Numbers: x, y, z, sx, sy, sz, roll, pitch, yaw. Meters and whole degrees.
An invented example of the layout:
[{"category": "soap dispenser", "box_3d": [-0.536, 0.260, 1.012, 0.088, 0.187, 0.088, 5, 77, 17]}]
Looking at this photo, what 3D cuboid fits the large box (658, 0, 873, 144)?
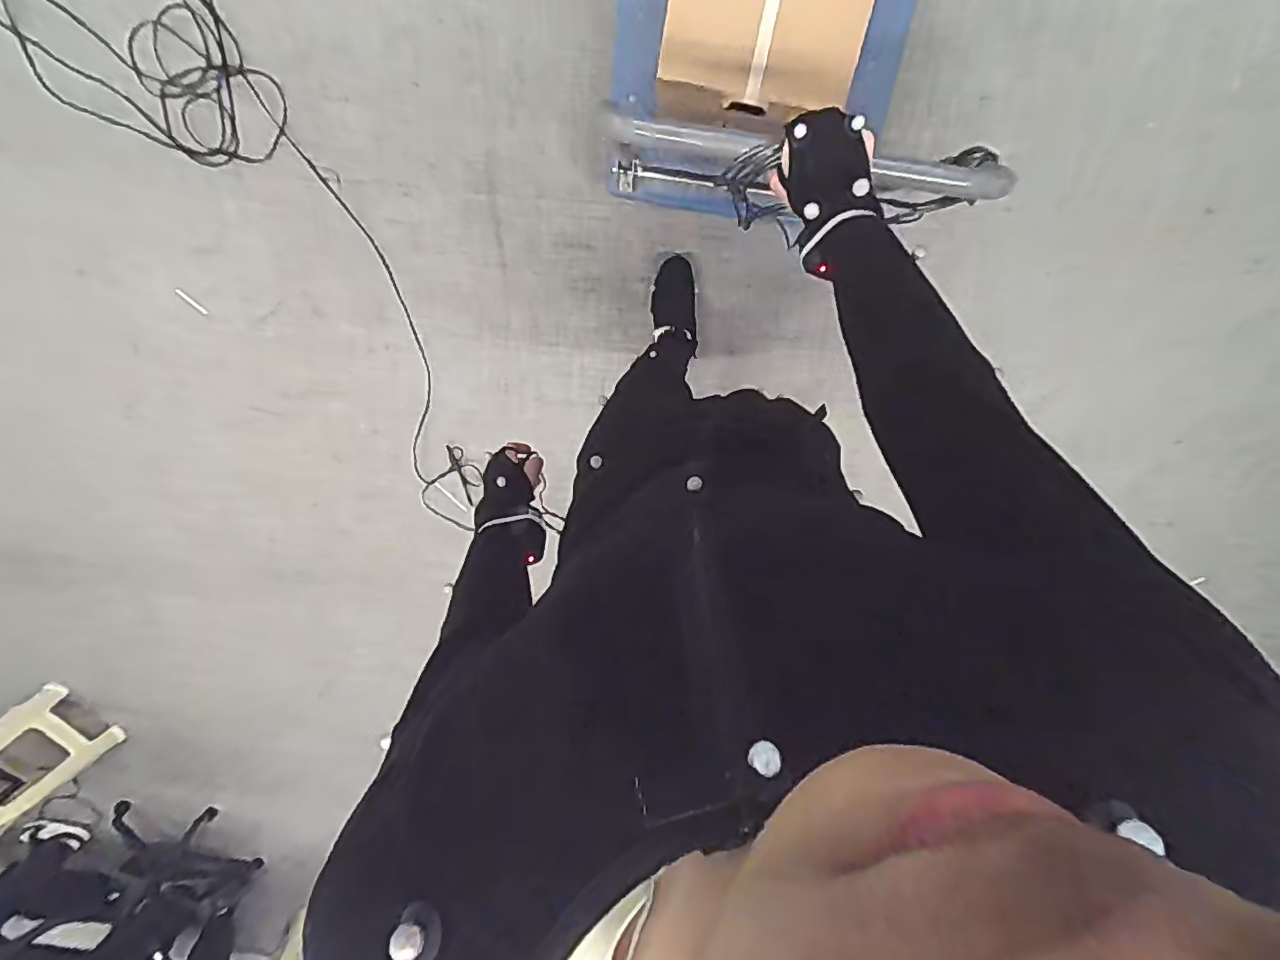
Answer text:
[{"category": "large box", "box_3d": [0.219, -0.858, 0.930, 0.320, 0.320, 0.408, 11, 112, -2]}]
